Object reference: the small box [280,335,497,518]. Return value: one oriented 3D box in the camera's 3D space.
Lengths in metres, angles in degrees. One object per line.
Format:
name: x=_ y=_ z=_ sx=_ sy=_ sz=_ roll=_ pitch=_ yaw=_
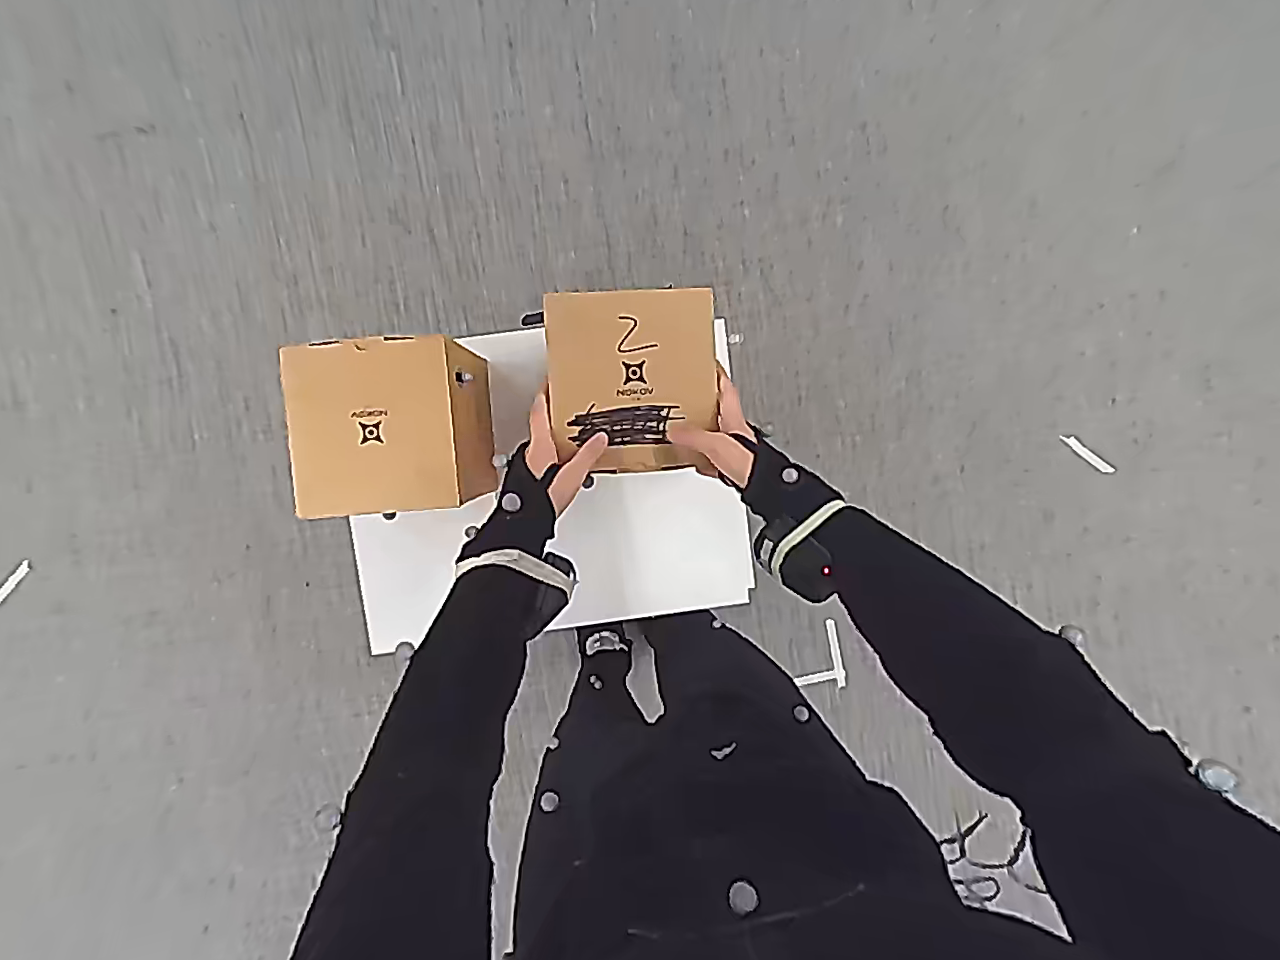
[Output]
small box: x=-0.268 y=-0.058 z=0.617 sx=0.168 sy=0.176 sz=0.179 roll=-4 pitch=93 yaw=-2
